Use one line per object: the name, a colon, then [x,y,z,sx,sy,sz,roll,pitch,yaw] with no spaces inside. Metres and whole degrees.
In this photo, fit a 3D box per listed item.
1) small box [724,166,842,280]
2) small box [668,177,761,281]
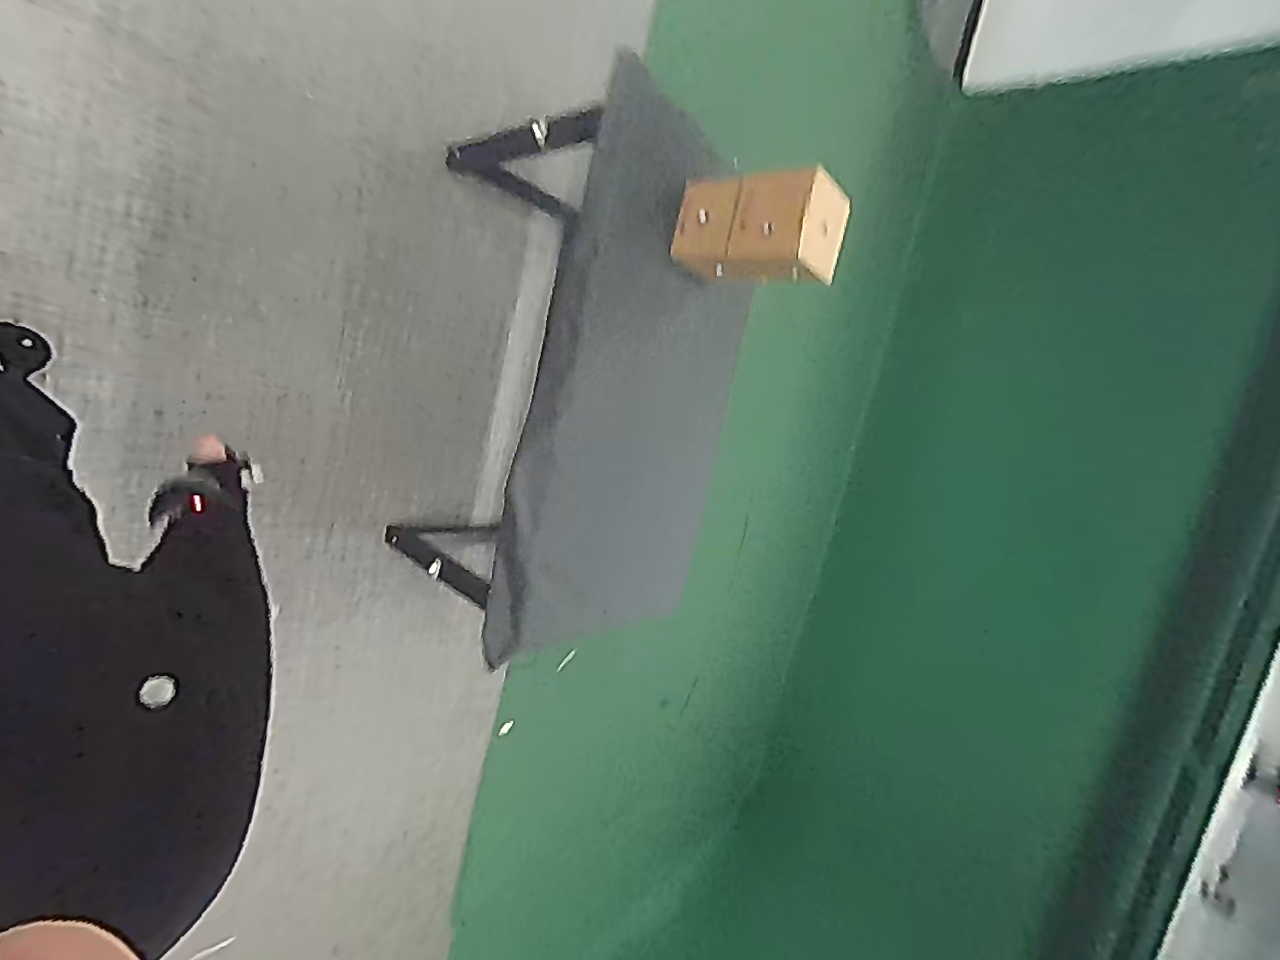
small box: [0.301,-0.533,1.148,0.179,0.176,0.168,3,103,-51]
small box: [0.189,-0.574,1.260,0.179,0.176,0.168,6,100,-50]
